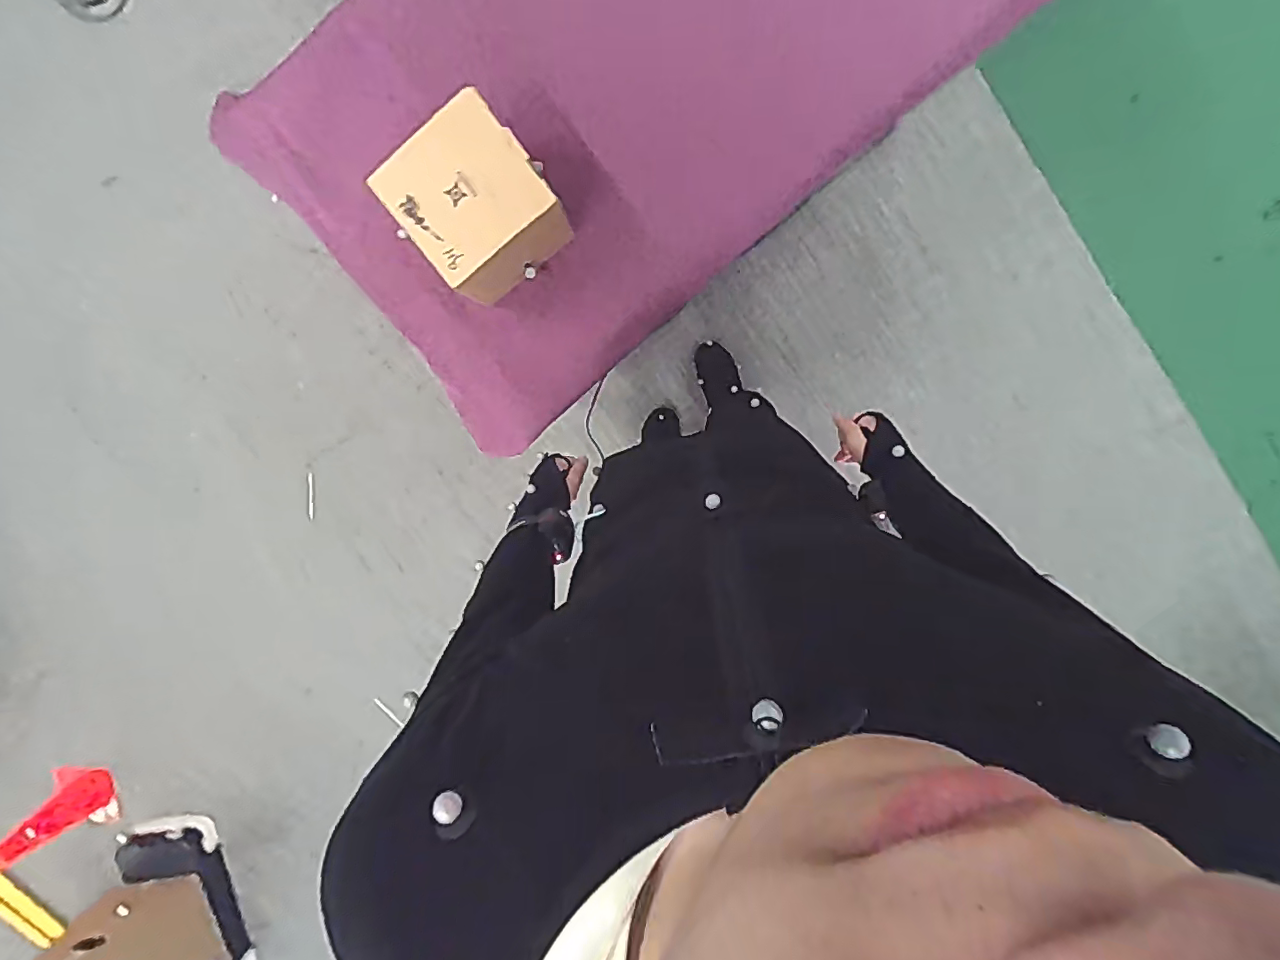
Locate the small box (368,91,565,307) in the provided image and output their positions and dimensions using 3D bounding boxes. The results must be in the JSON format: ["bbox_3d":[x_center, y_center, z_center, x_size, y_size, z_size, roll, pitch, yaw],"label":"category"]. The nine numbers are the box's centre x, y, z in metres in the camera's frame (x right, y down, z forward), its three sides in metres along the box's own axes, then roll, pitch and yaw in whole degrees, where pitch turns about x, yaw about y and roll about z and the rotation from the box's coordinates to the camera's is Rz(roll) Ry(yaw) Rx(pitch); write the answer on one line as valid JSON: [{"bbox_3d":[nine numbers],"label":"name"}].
[{"bbox_3d":[-0.218,-0.363,0.737,0.179,0.176,0.168,-37,98,6],"label":"small box"}]
